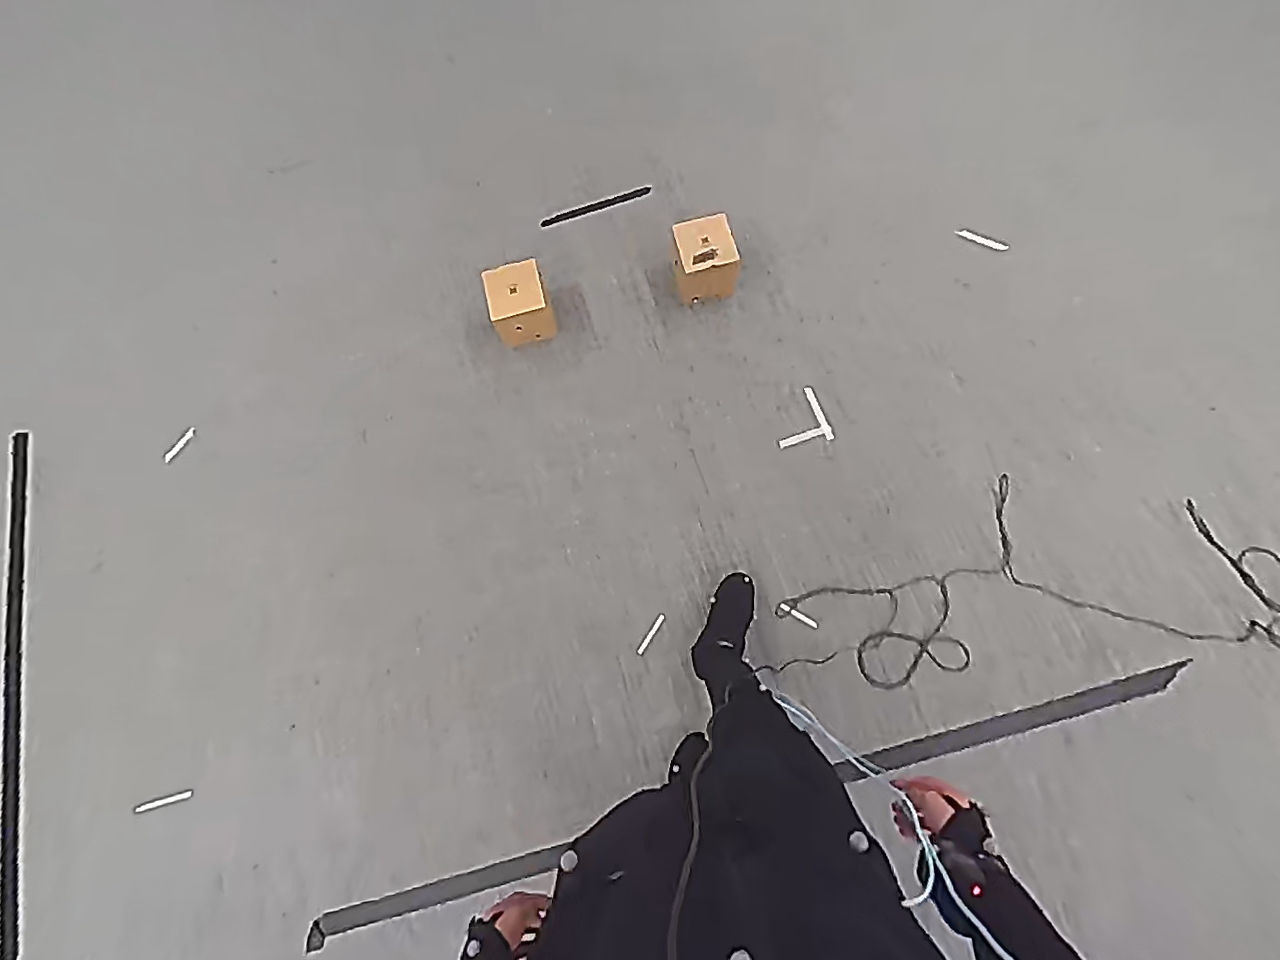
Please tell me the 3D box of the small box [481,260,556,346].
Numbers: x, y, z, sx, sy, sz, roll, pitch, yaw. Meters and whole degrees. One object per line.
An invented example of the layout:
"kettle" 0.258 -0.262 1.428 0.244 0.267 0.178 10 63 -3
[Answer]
"small box" -0.367 -0.530 1.655 0.168 0.176 0.179 -15 74 0

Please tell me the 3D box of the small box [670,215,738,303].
"small box" 0.191 -0.664 1.649 0.168 0.176 0.179 -14 74 0
